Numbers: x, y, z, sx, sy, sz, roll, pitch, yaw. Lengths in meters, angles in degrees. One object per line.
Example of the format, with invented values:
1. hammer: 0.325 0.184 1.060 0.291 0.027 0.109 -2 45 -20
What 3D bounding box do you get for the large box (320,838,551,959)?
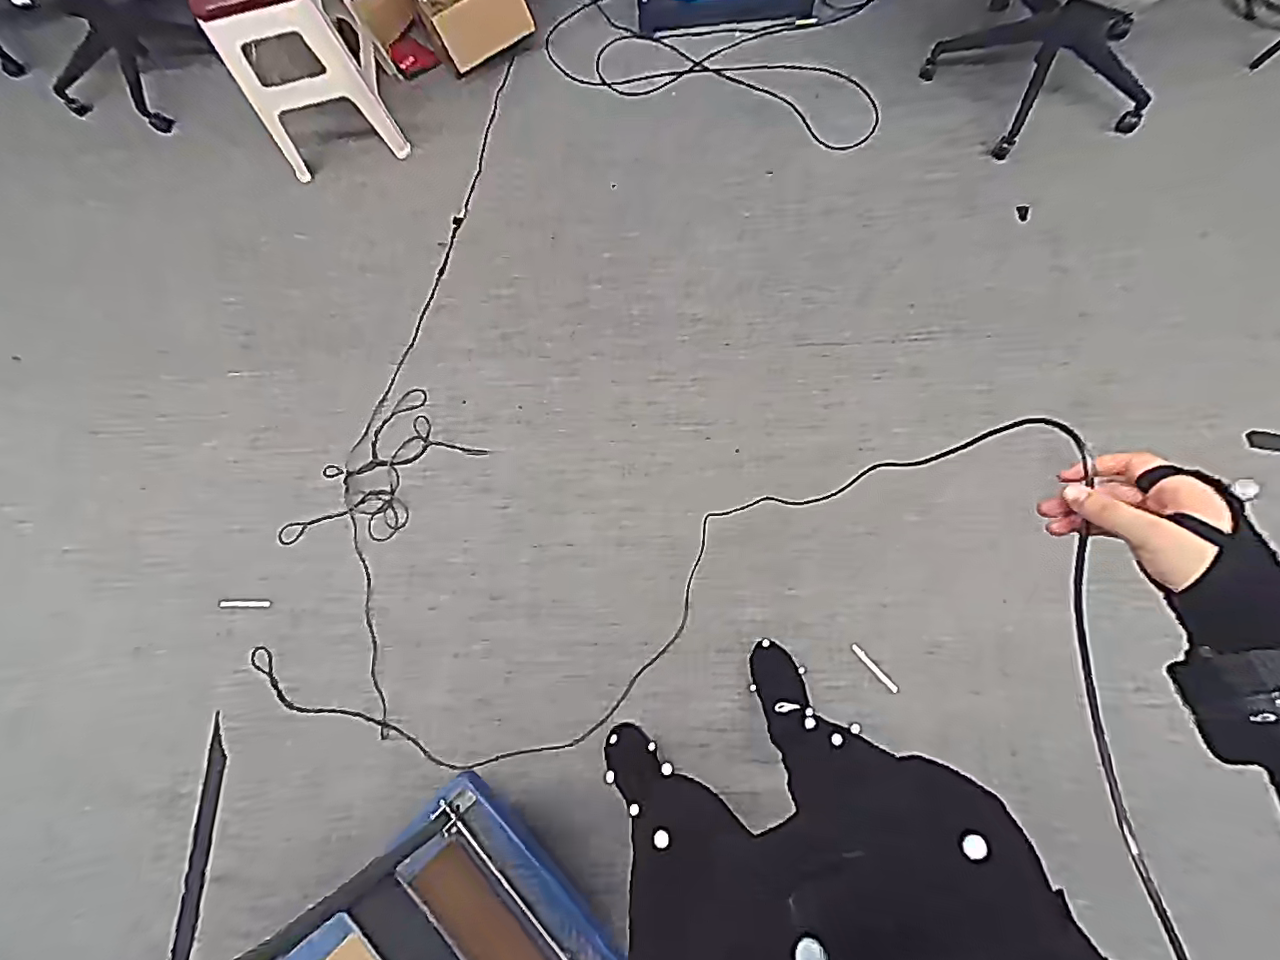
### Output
1. large box: -0.352 0.913 0.883 0.408 0.320 0.320 43 81 14
